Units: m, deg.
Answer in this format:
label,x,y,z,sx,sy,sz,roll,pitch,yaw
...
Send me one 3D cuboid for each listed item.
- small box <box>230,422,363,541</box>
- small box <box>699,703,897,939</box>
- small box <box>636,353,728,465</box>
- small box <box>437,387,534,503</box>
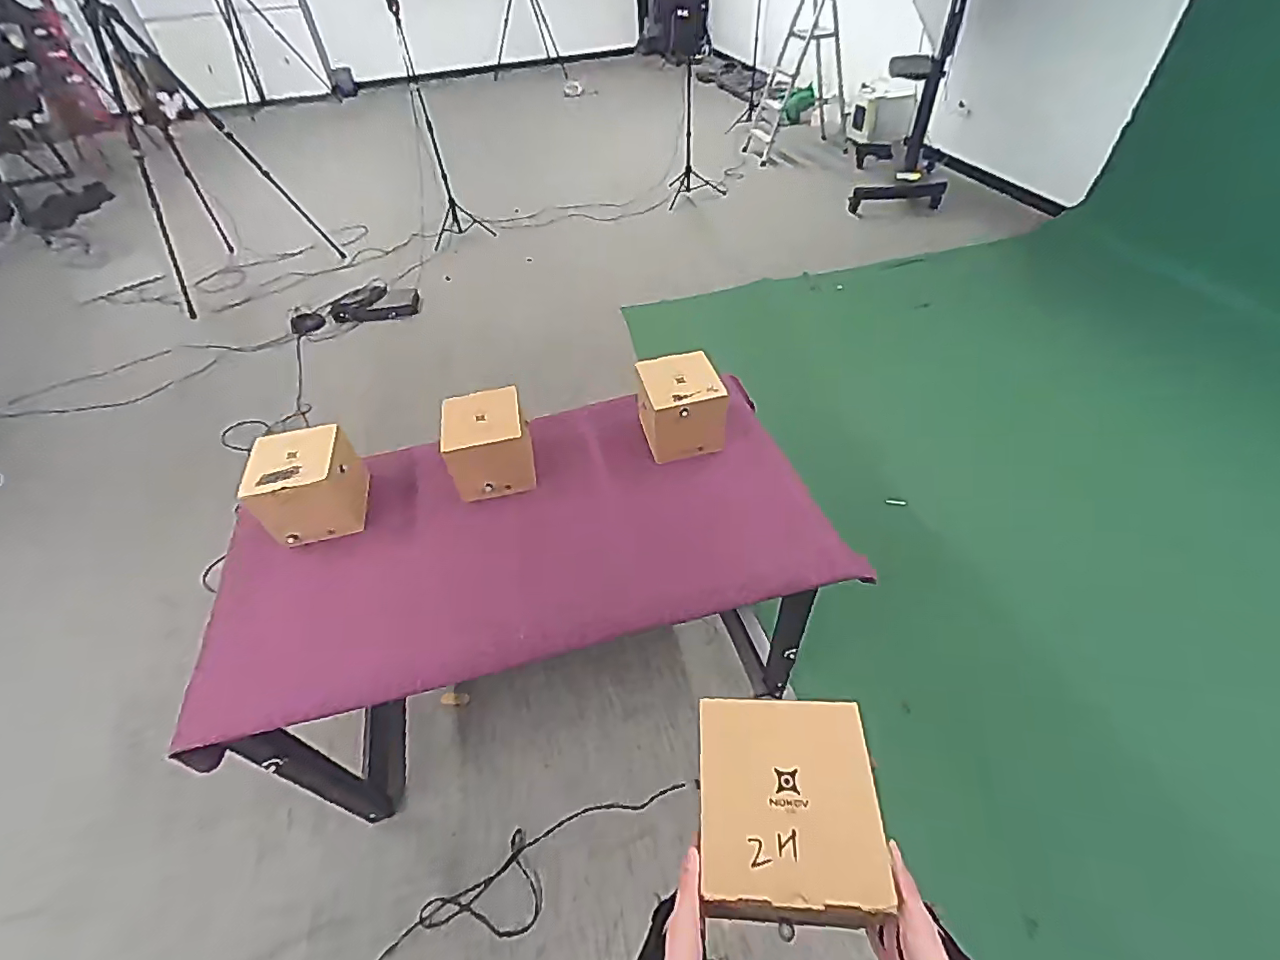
label,x,y,z,sx,sy,sz,roll,pitch,yaw
small box,-0.696,0.009,1.122,0.168,0.176,0.179,-12,49,-8
small box,0.147,0.359,0.573,0.168,0.176,0.179,0,47,7
small box,0.091,-0.161,1.239,0.168,0.176,0.179,-13,48,-7
small box,-0.334,-0.076,1.186,0.168,0.176,0.179,-11,49,-6
